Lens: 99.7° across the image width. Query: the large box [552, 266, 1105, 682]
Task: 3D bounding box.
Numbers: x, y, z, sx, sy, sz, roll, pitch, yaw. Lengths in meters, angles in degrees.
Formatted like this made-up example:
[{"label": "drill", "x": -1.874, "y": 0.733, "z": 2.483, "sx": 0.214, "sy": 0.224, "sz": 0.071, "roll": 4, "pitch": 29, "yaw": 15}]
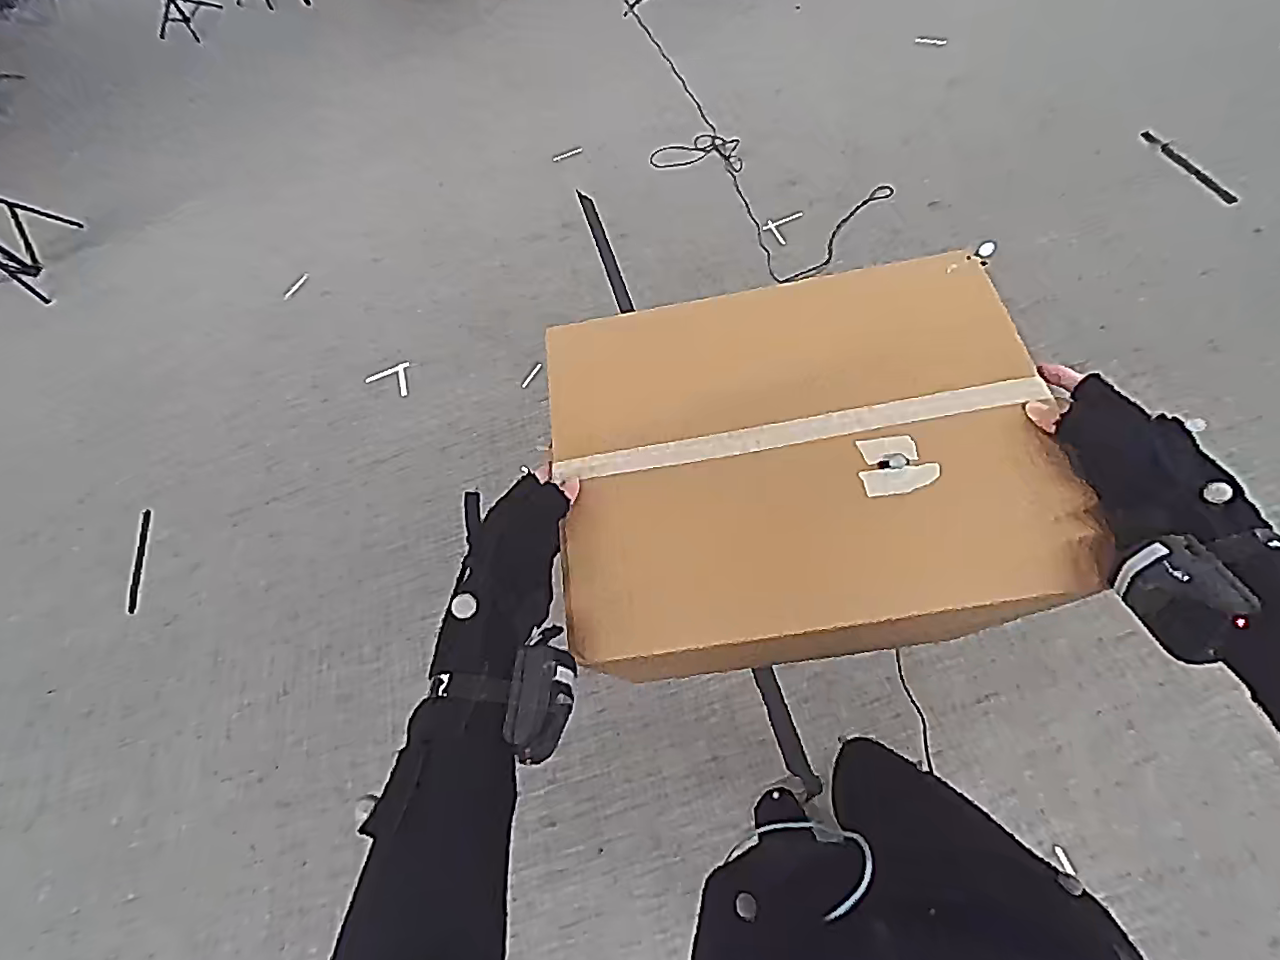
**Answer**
[{"label": "large box", "x": 0.143, "y": 0.025, "z": 0.600, "sx": 0.408, "sy": 0.320, "sz": 0.320, "roll": -10, "pitch": 67, "yaw": 3}]
